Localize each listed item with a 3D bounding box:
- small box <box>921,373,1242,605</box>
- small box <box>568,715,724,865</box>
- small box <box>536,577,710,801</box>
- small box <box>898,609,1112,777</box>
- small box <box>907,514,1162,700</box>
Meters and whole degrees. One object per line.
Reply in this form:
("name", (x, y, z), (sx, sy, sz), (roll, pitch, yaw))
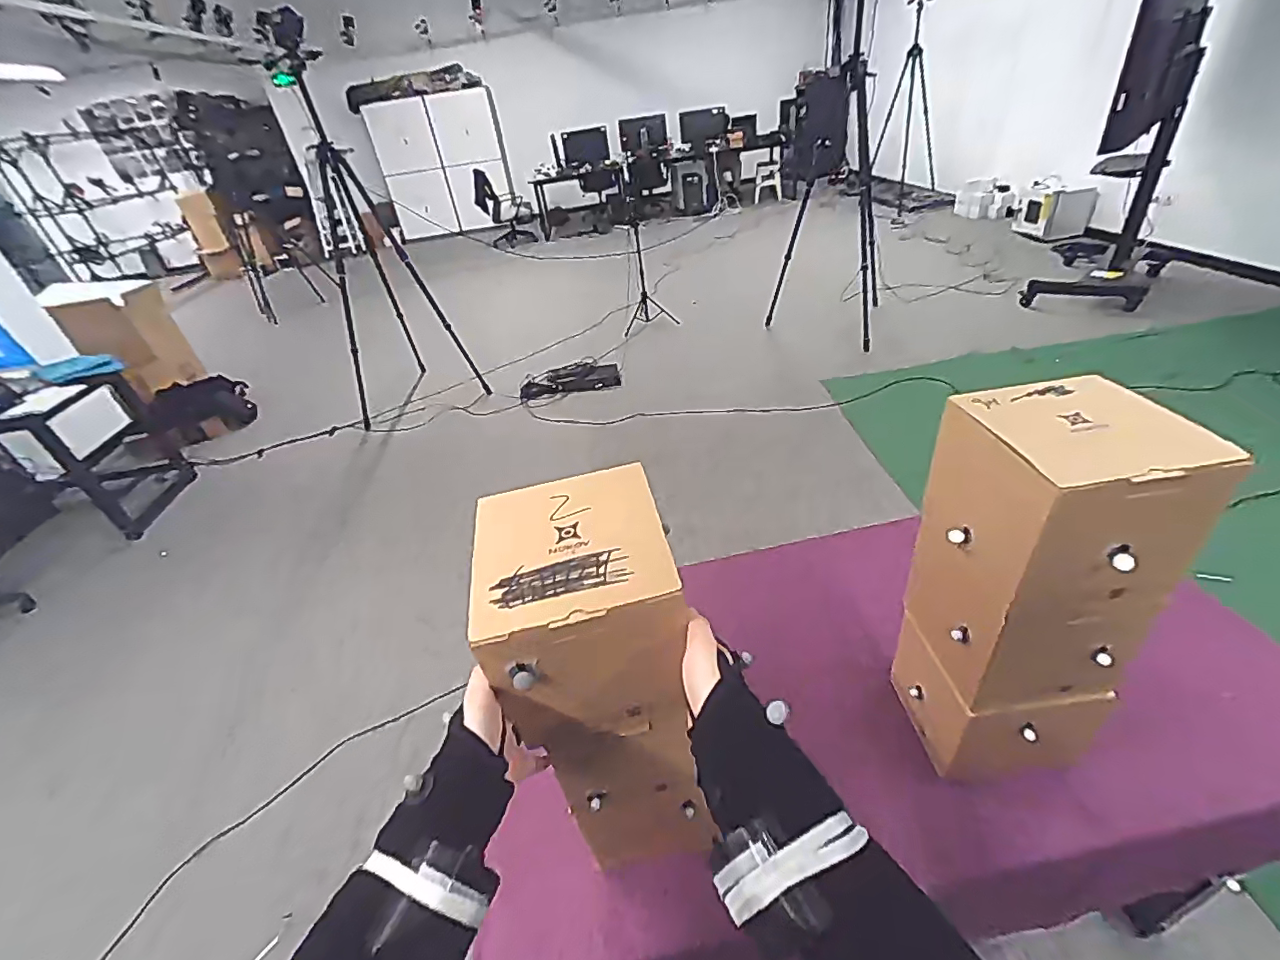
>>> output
("small box", (0.421, 0.012, 0.560), (0.168, 0.176, 0.179), (-8, 36, 1))
("small box", (0.006, 0.380, 0.723), (0.179, 0.176, 0.168), (-11, 35, -1))
("small box", (-0.019, 0.246, 0.633), (0.168, 0.176, 0.179), (-11, 34, -2))
("small box", (0.473, 0.281, 0.740), (0.179, 0.176, 0.168), (-9, 36, 2))
("small box", (0.448, 0.145, 0.654), (0.168, 0.176, 0.179), (-8, 34, 2))
